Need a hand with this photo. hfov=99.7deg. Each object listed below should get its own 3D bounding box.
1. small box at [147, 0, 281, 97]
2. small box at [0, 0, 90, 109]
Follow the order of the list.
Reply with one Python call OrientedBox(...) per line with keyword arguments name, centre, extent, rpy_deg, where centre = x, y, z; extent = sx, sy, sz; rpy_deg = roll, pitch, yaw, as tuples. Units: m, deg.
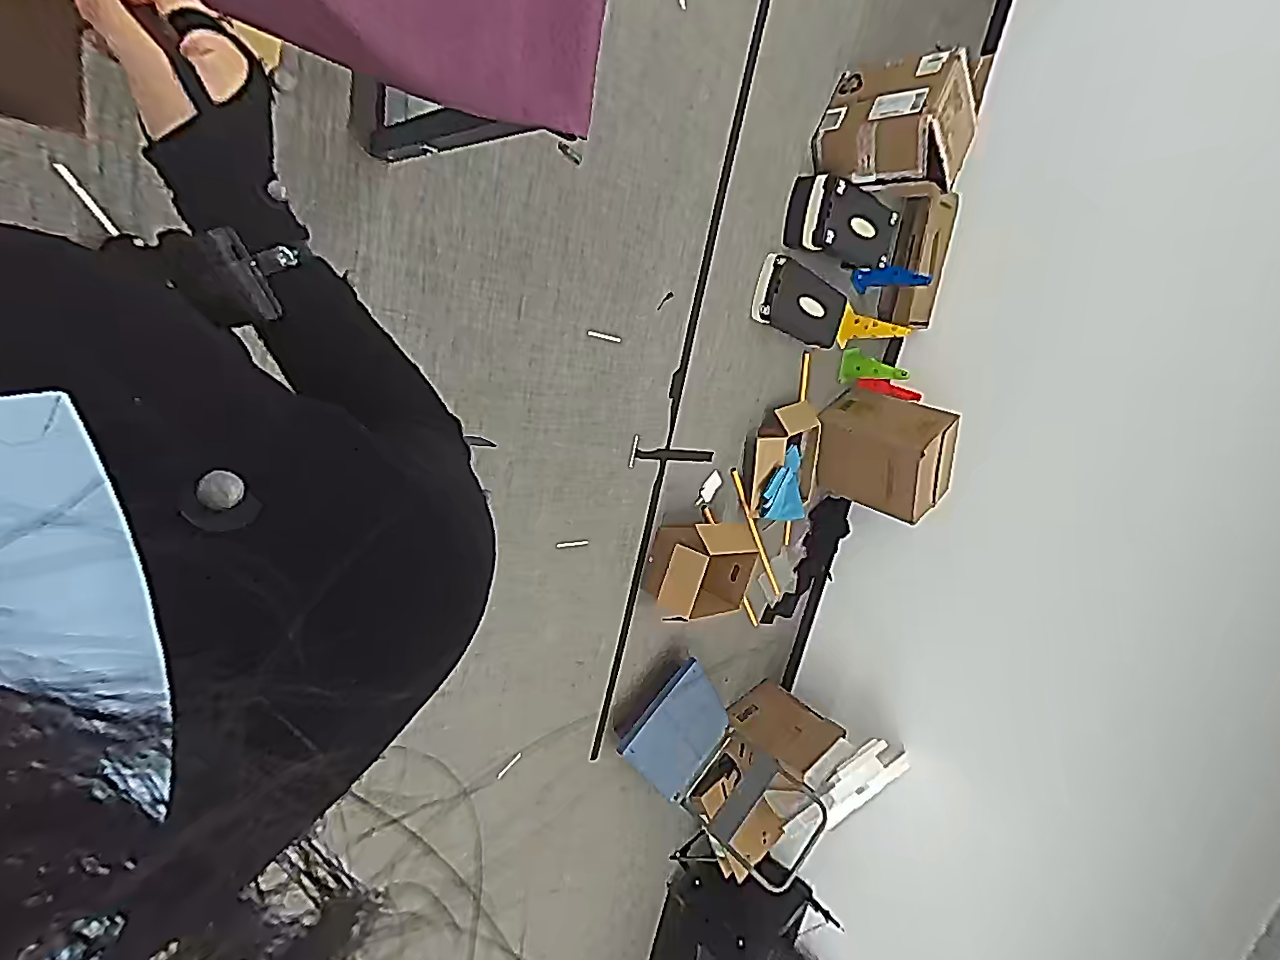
OrientedBox(name="small box", centre=(-0.769, -0.832, 0.975), extent=(0.168, 0.176, 0.179), rpy_deg=(3, 106, -47))
OrientedBox(name="small box", centre=(-0.427, -0.355, 0.296), extent=(0.168, 0.176, 0.179), rpy_deg=(-7, 92, -46))
